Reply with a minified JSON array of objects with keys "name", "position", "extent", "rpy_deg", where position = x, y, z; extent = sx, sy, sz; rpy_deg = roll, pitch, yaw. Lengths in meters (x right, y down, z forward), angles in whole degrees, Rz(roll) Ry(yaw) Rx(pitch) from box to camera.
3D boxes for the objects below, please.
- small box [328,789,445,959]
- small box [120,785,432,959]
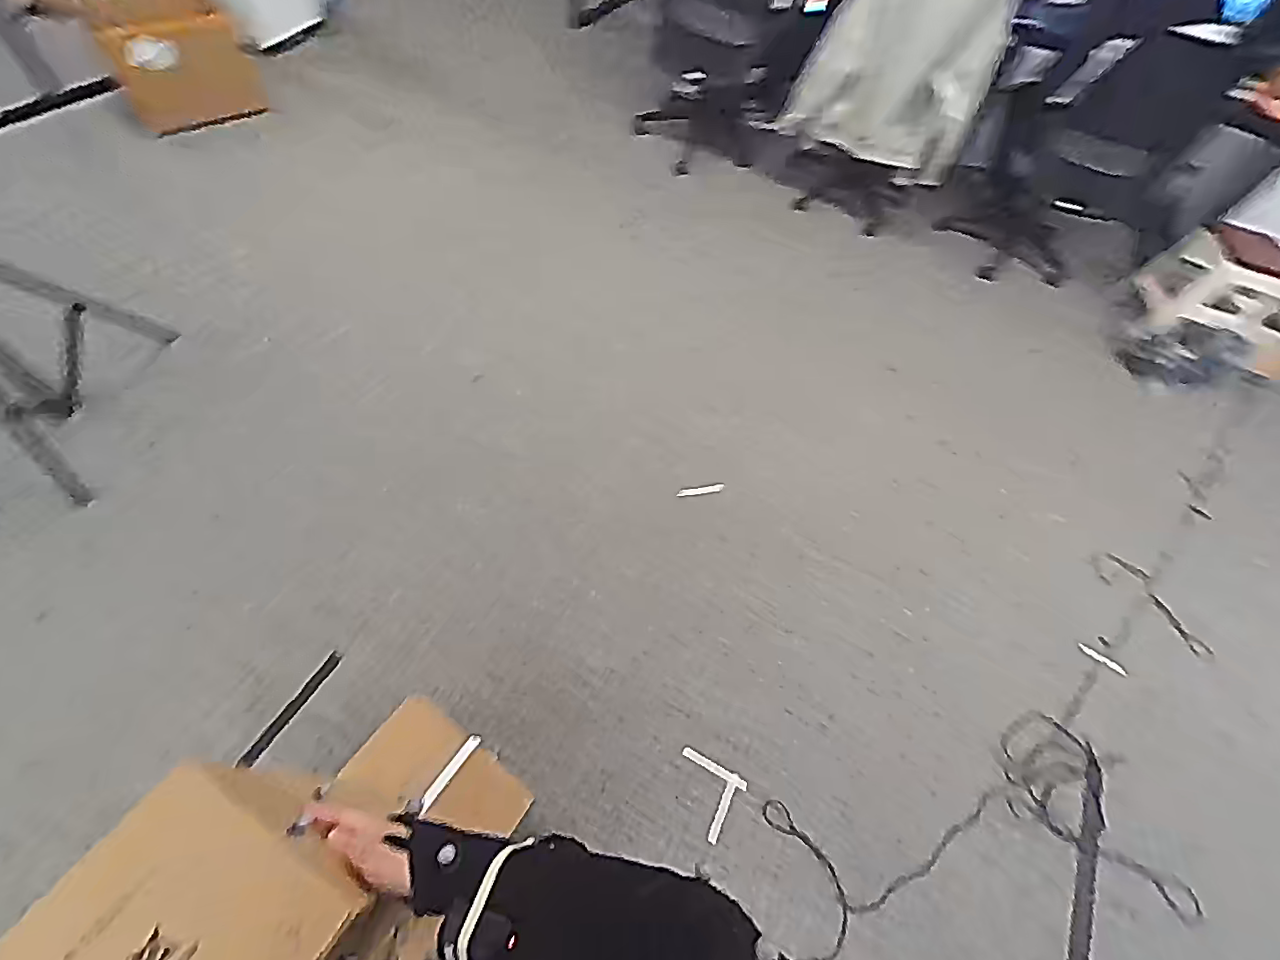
[{"name":"small box","position":[-0.373,0.522,0.687],"extent":[0.179,0.176,0.168],"rpy_deg":[34,58,9]},{"name":"small box","position":[-0.341,0.439,0.550],"extent":[0.179,0.176,0.168],"rpy_deg":[32,59,9]}]
